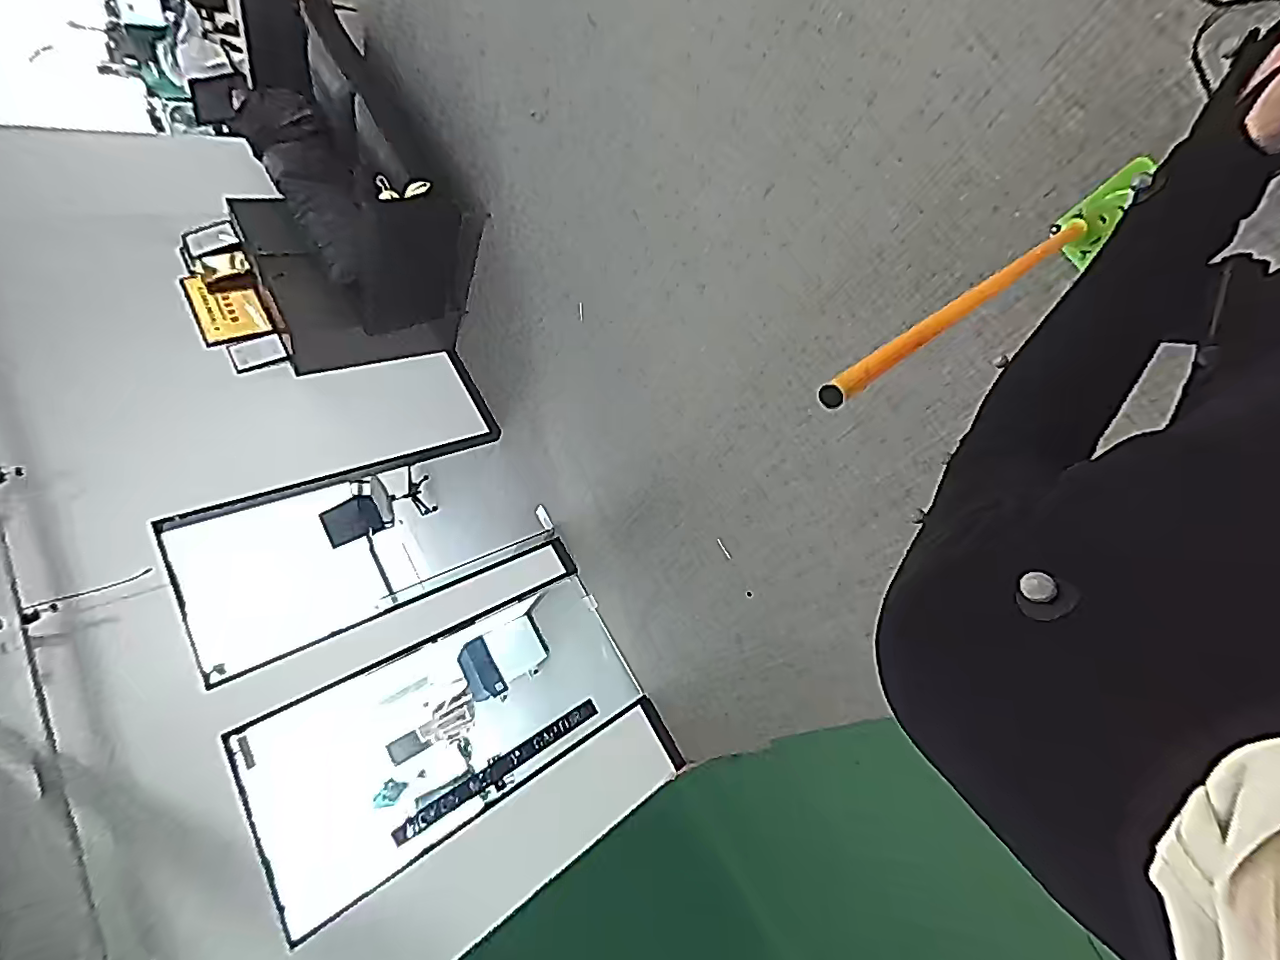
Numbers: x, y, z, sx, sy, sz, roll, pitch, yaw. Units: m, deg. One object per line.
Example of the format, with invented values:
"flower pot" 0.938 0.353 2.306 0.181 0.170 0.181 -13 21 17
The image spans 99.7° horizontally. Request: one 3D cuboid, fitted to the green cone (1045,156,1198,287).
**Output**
"green cone" 0.913 -0.508 1.079 0.200 0.368 0.202 59 142 12
